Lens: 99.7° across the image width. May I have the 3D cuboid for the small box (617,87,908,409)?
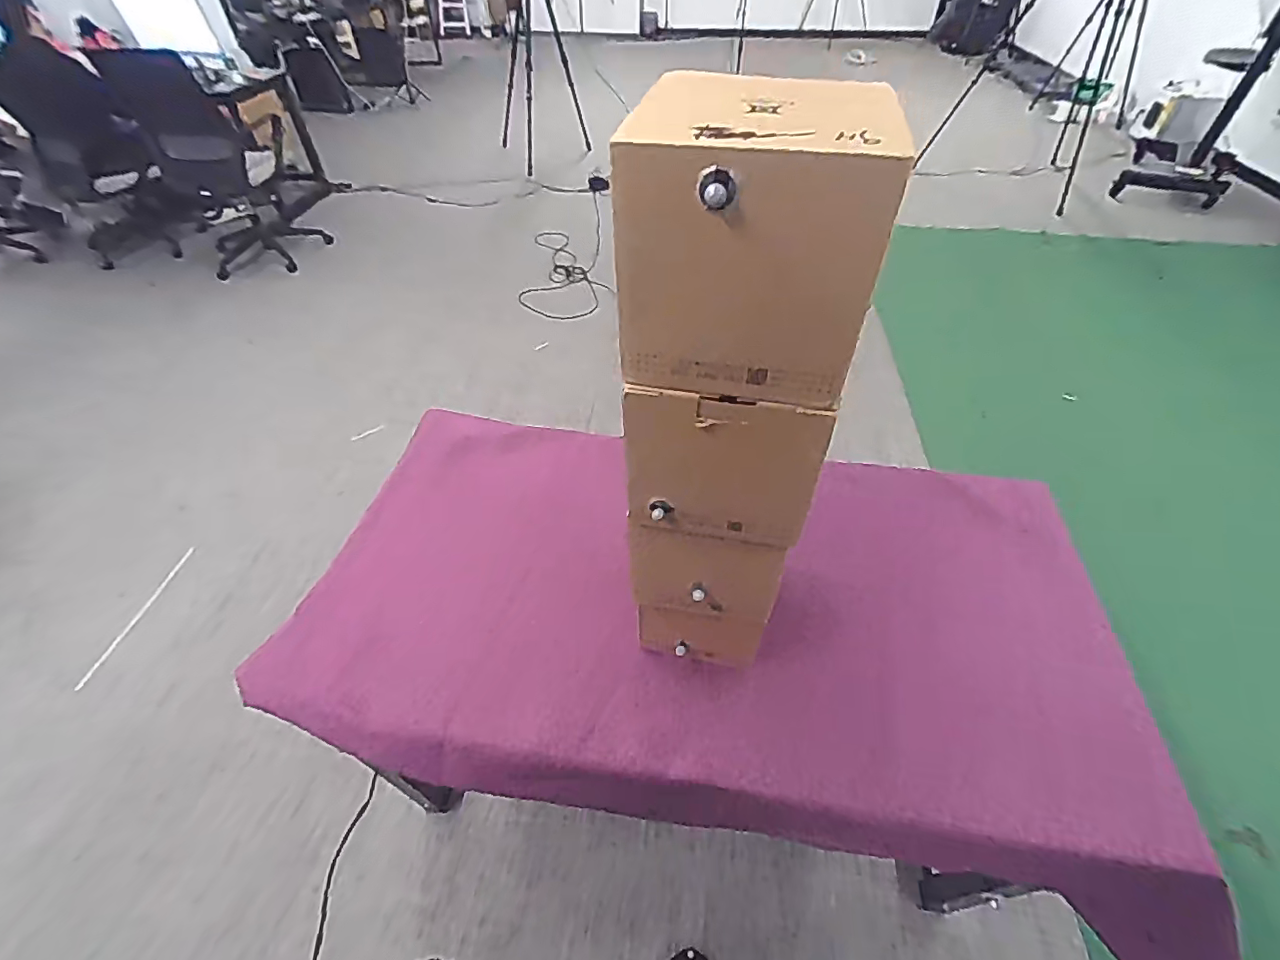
[{"bbox_3d":[0.085,-0.180,0.414,0.168,0.176,0.179,9,46,10],"label":"small box"}]

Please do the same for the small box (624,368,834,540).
[{"bbox_3d":[0.087,-0.064,0.529,0.168,0.176,0.179,8,46,9],"label":"small box"}]

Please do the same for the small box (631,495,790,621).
[{"bbox_3d":[0.087,0.042,0.655,0.168,0.176,0.179,7,47,9],"label":"small box"}]

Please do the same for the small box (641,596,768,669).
[{"bbox_3d":[0.096,0.144,0.783,0.168,0.176,0.179,9,48,10],"label":"small box"}]
